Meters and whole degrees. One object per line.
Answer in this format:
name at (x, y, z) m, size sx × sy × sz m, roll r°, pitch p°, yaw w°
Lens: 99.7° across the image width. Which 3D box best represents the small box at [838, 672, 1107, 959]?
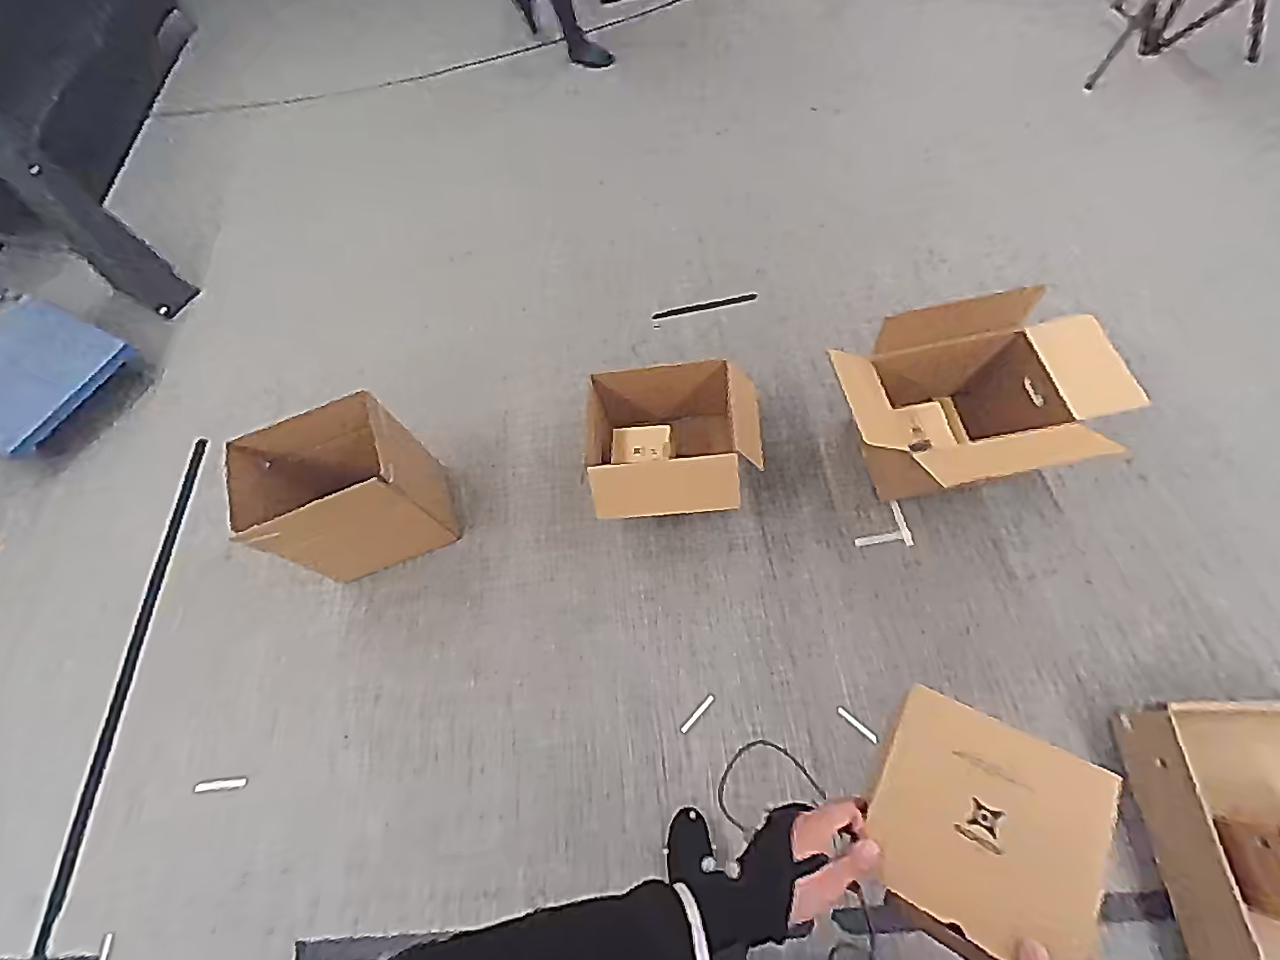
small box at (0.308, 0.318, 0.533) m, size 0.168 × 0.176 × 0.179 m, roll 21°, pitch 72°, yaw 27°
